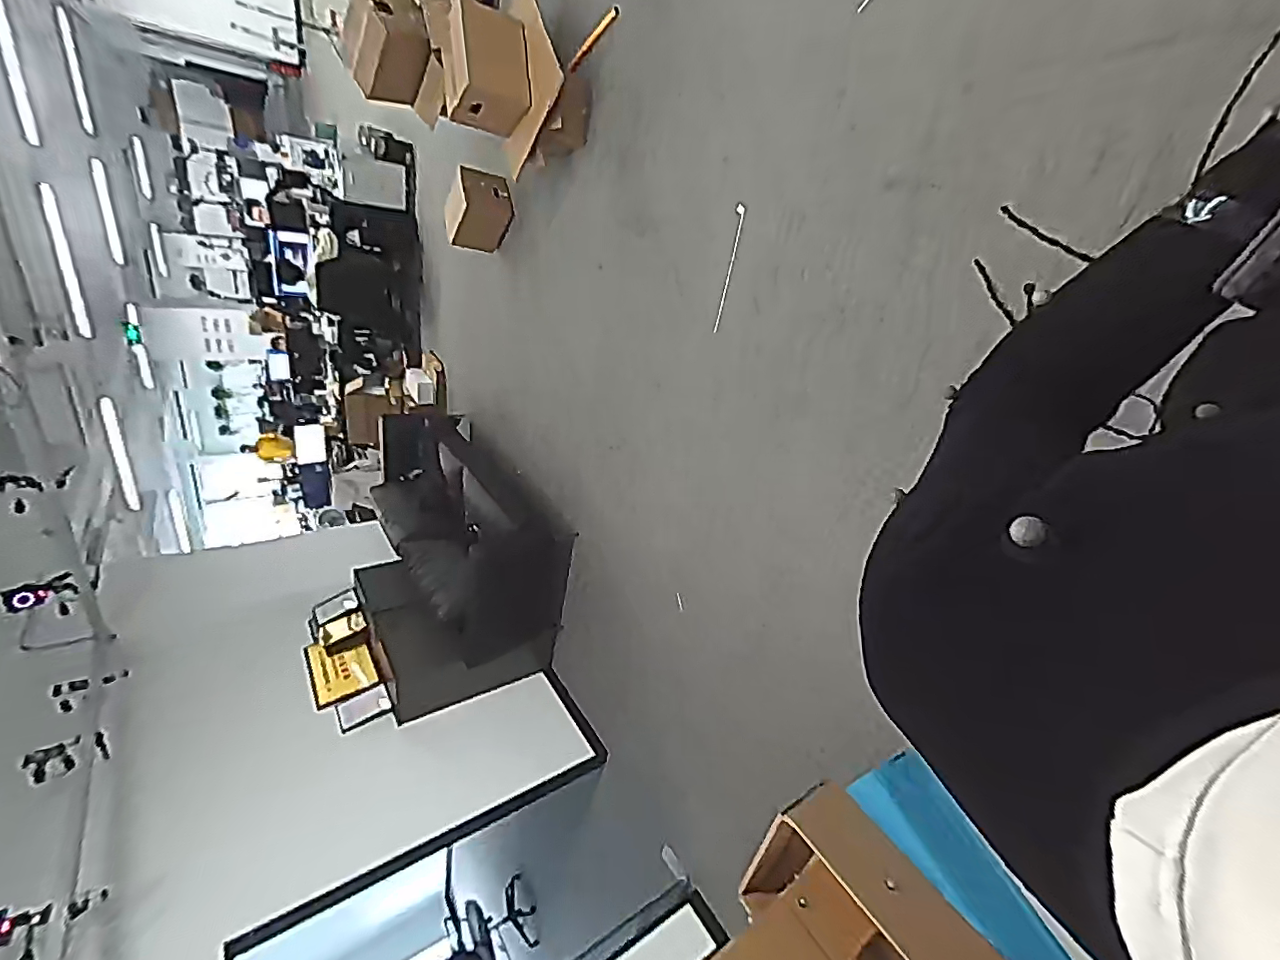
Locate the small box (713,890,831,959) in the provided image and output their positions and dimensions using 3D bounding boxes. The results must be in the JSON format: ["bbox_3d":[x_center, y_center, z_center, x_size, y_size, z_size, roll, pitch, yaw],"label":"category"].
[{"bbox_3d":[0.295,1.064,1.187,0.179,0.176,0.168,44,131,39],"label":"small box"}]
